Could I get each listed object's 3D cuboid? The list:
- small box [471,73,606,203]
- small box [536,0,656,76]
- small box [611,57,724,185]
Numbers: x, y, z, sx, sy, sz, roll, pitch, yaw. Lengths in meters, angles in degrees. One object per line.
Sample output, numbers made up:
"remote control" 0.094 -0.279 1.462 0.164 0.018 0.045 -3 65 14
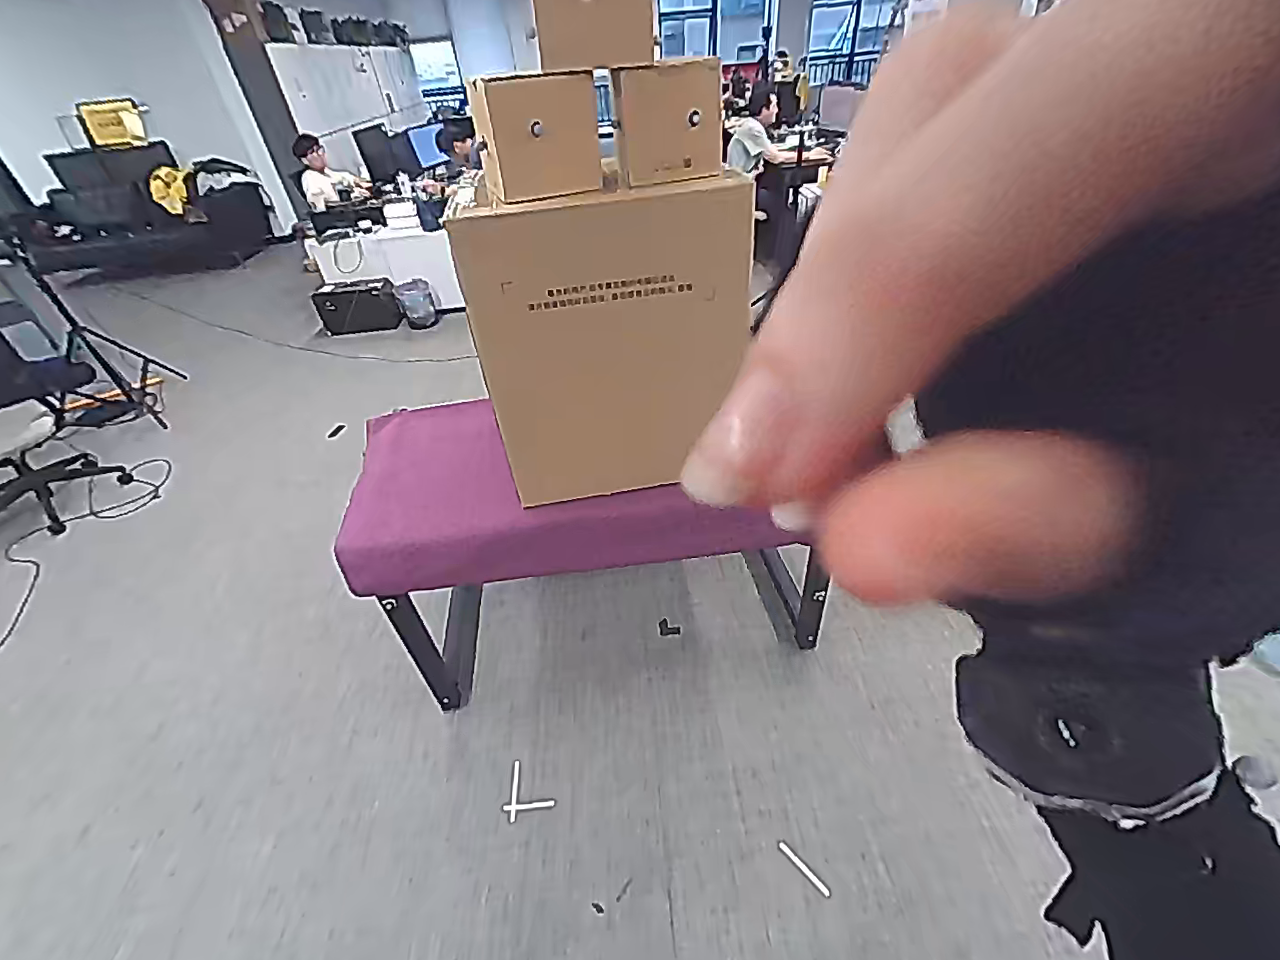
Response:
"small box" -0.171 -0.587 0.926 0.179 0.176 0.168 -17 41 -16
"small box" -0.069 -0.733 0.832 0.179 0.176 0.168 -7 39 -3
"small box" 0.048 -0.629 0.953 0.168 0.176 0.179 -9 38 -5
